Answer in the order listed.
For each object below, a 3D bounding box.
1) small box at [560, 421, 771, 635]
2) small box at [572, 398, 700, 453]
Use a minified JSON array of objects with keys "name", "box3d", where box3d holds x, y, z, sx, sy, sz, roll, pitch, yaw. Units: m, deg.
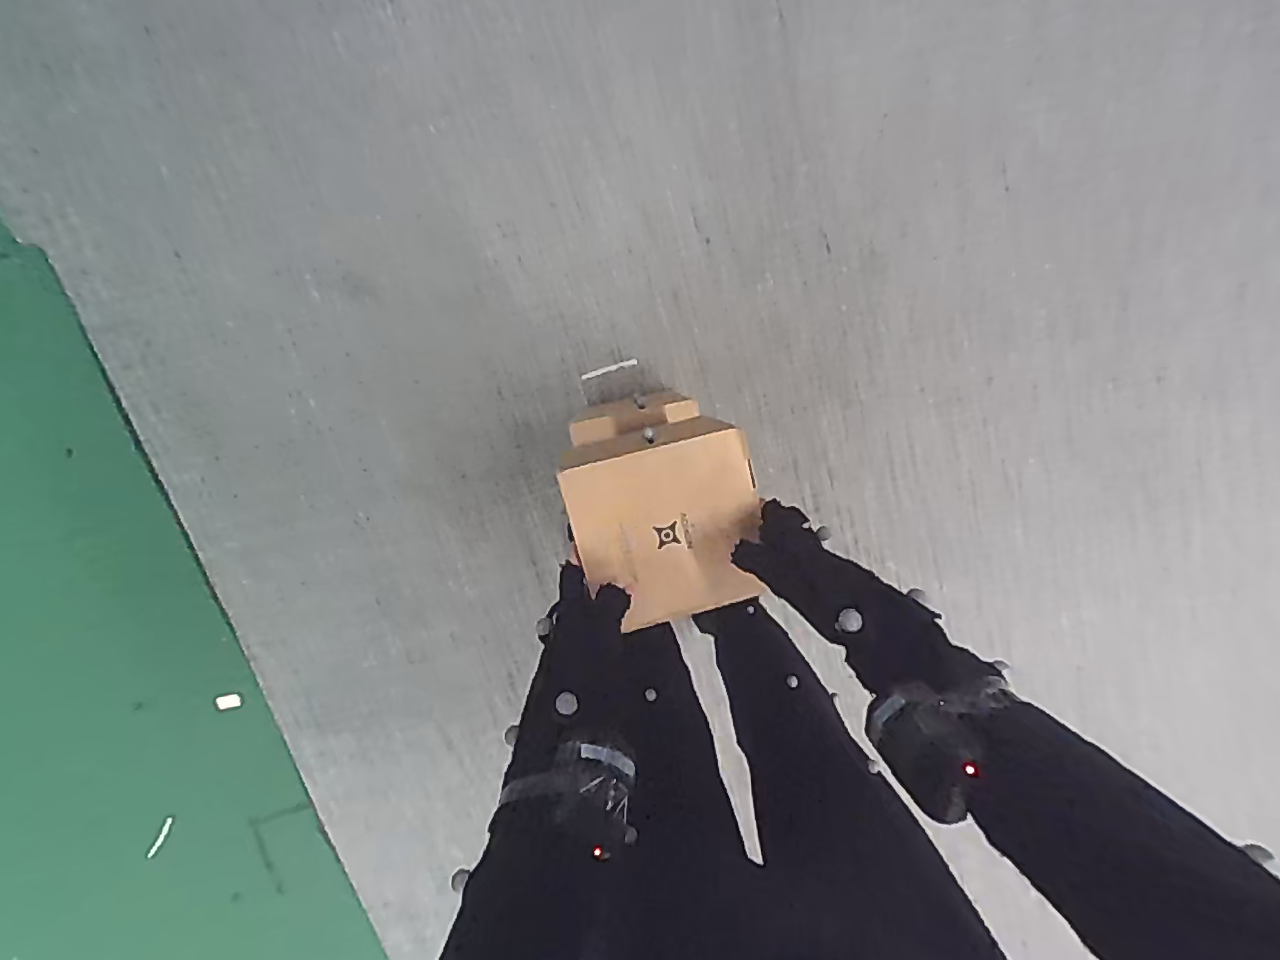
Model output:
[{"name":"small box","box3d":[0.020,0.037,0.584,0.179,0.176,0.168,-15,101,-2]},{"name":"small box","box3d":[0.006,-0.022,0.816,0.179,0.176,0.168,-13,103,2]}]
